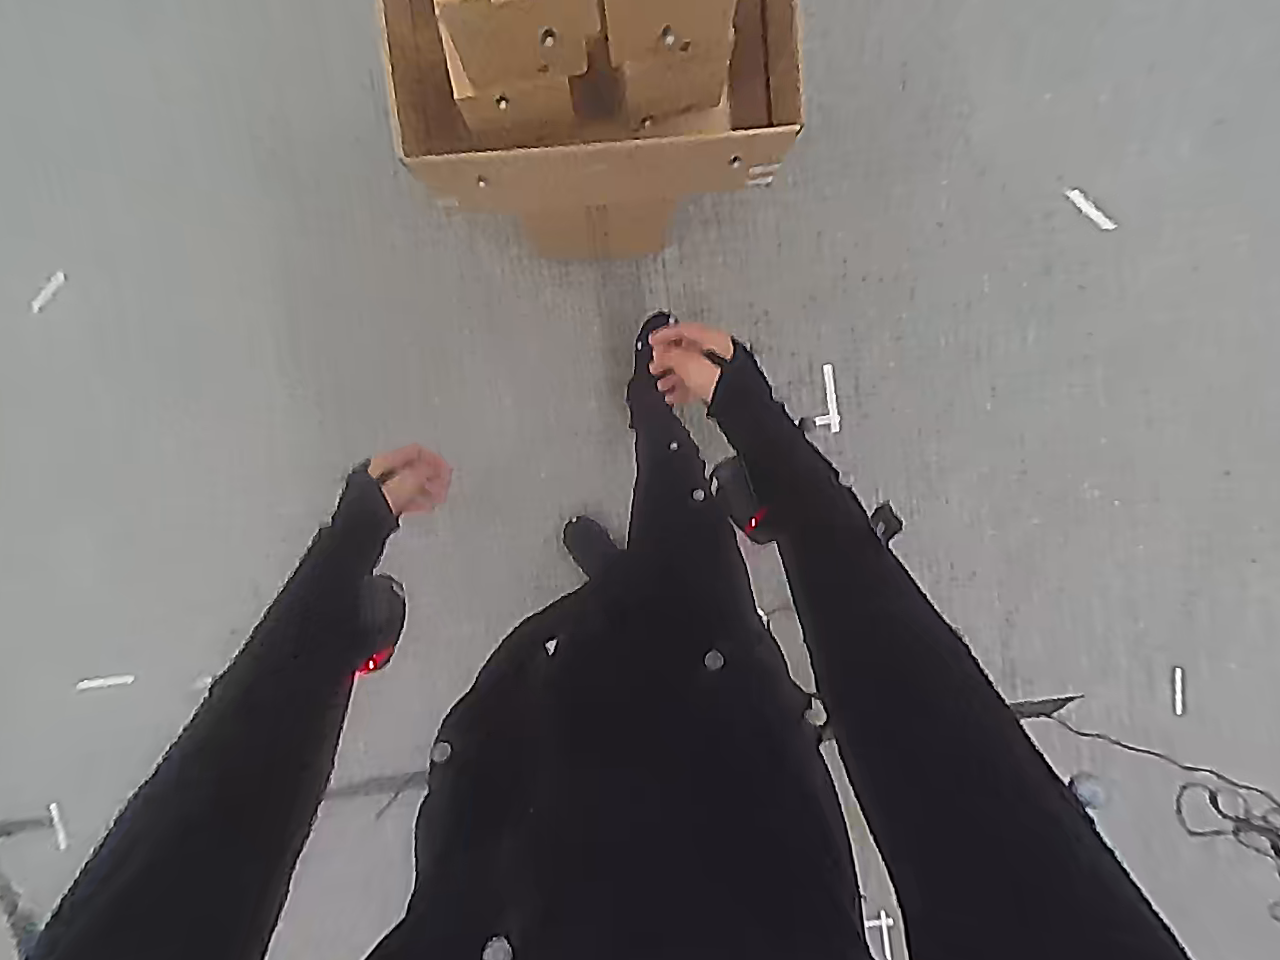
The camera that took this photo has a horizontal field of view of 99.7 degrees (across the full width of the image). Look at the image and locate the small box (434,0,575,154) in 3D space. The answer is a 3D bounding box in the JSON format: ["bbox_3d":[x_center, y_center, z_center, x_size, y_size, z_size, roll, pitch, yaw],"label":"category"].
[{"bbox_3d":[-0.202,-0.646,0.834,0.168,0.176,0.179,-11,96,0],"label":"small box"}]
